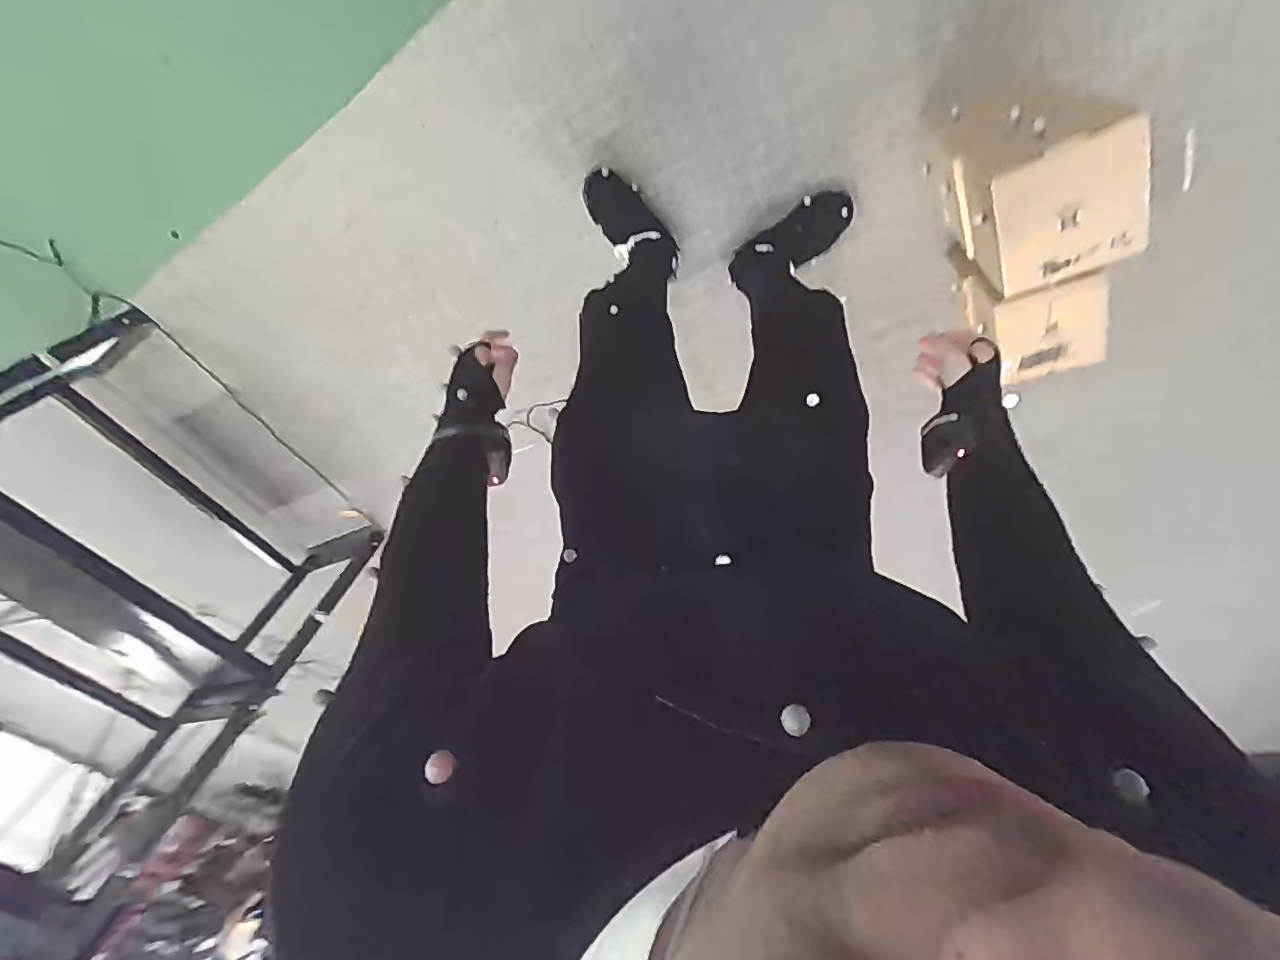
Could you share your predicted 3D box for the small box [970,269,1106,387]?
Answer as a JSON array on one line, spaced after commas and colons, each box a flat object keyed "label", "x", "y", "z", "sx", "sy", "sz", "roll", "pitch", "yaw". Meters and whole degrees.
[{"label": "small box", "x": 0.744, "y": -0.308, "z": 1.024, "sx": 0.168, "sy": 0.176, "sz": 0.179, "roll": -13, "pitch": 125, "yaw": 24}]

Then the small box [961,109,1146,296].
[{"label": "small box", "x": 0.579, "y": -0.399, "z": 0.772, "sx": 0.168, "sy": 0.176, "sz": 0.179, "roll": -15, "pitch": 124, "yaw": 27}]

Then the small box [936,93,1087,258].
[{"label": "small box", "x": 0.608, "y": -0.504, "z": 0.896, "sx": 0.179, "sy": 0.176, "sz": 0.168, "roll": -16, "pitch": 124, "yaw": 27}]
